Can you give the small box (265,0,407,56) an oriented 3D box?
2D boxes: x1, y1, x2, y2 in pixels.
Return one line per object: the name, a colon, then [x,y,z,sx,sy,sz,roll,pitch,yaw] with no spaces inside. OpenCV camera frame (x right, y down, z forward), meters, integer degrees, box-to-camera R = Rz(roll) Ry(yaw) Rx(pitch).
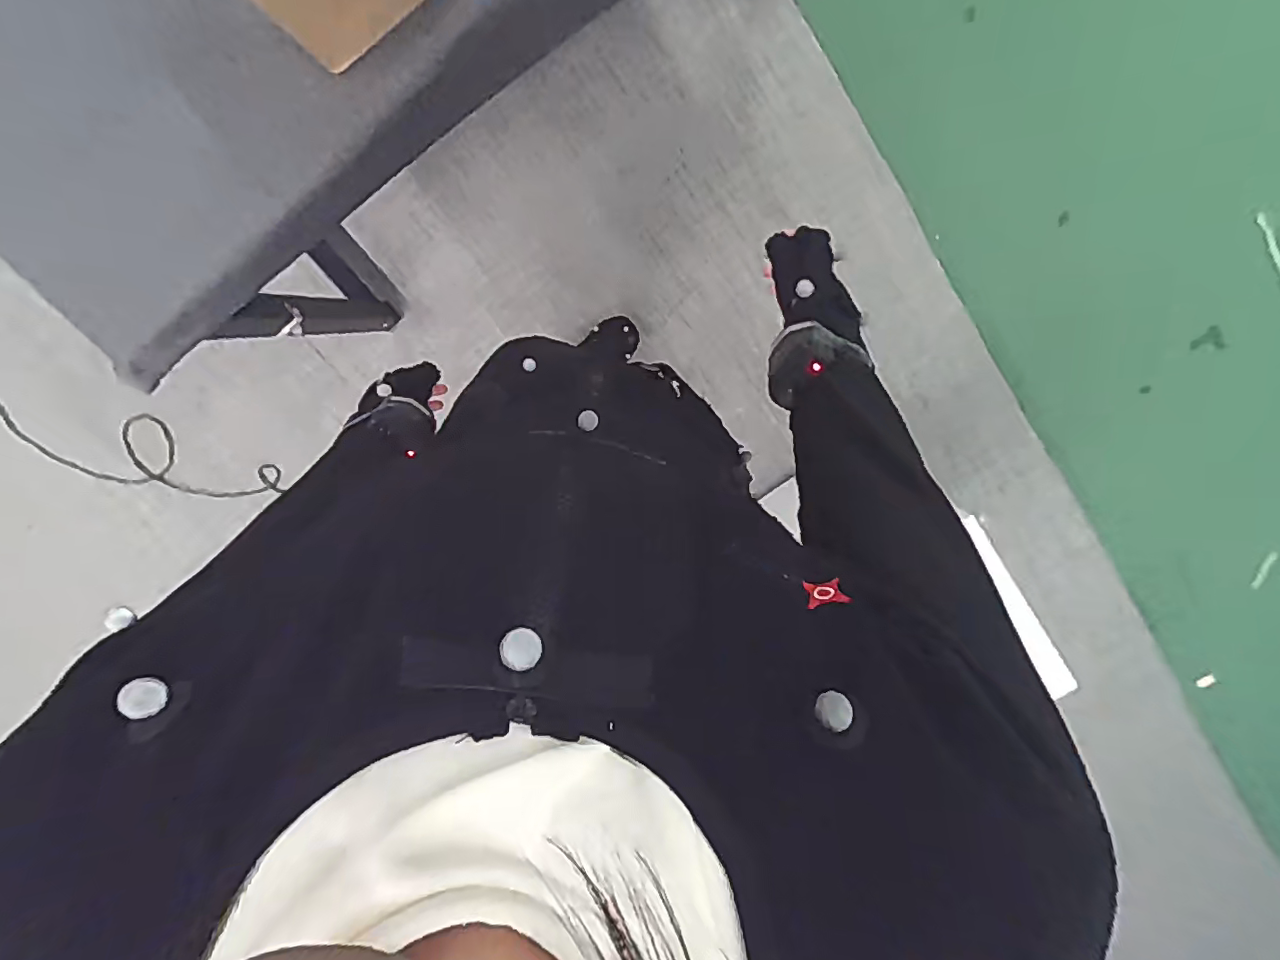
small box: [-0.289,-0.512,0.447,0.179,0.176,0.168,-33,103,10]
